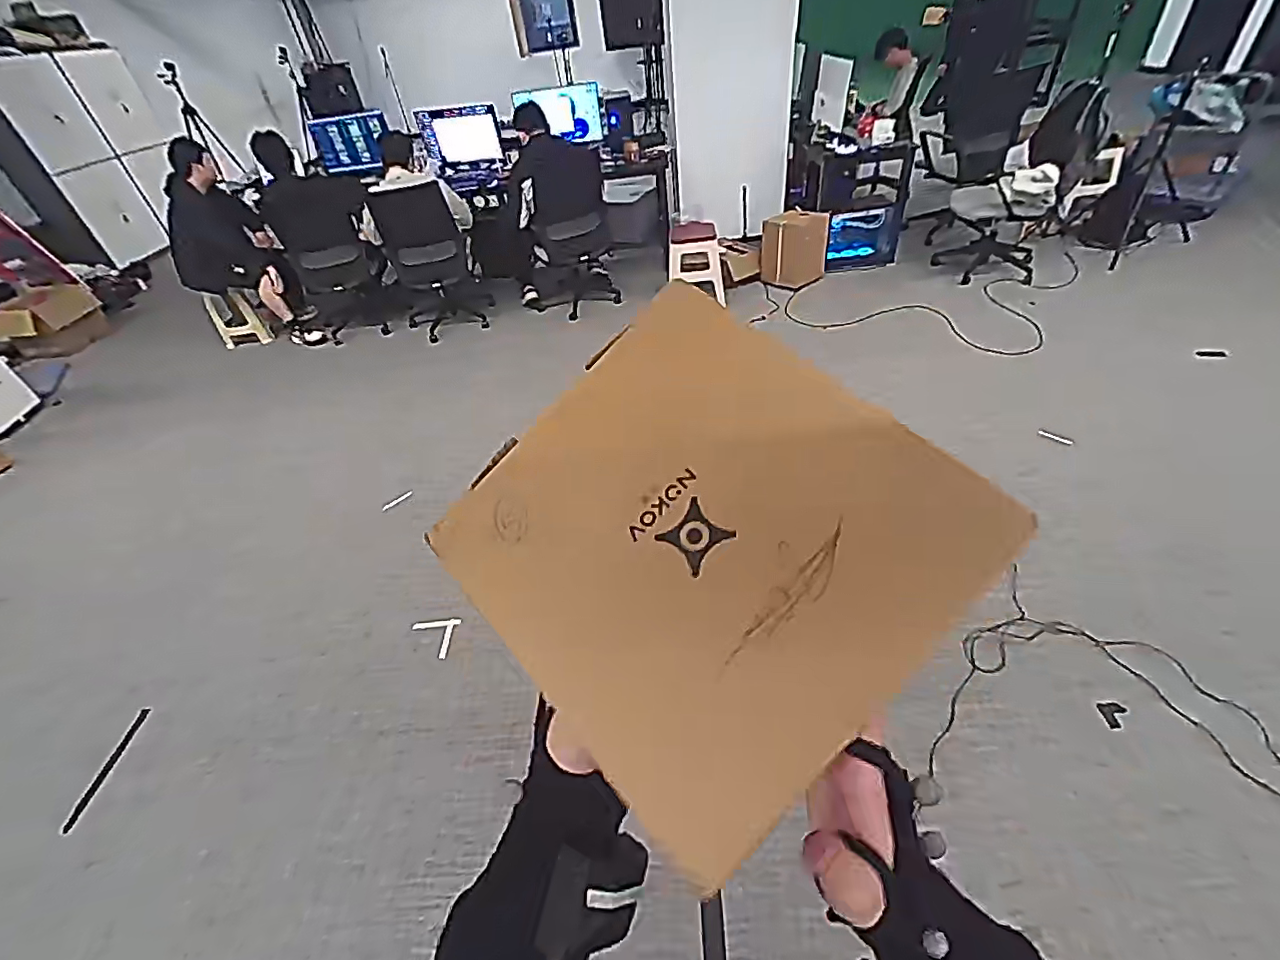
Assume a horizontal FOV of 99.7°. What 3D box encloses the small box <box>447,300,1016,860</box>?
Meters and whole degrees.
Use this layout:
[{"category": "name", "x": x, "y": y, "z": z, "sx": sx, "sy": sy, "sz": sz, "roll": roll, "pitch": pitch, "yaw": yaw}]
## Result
[{"category": "small box", "x": 0.042, "y": 0.047, "z": 0.295, "sx": 0.179, "sy": 0.176, "sz": 0.168, "roll": 40, "pitch": 86, "yaw": 23}]
